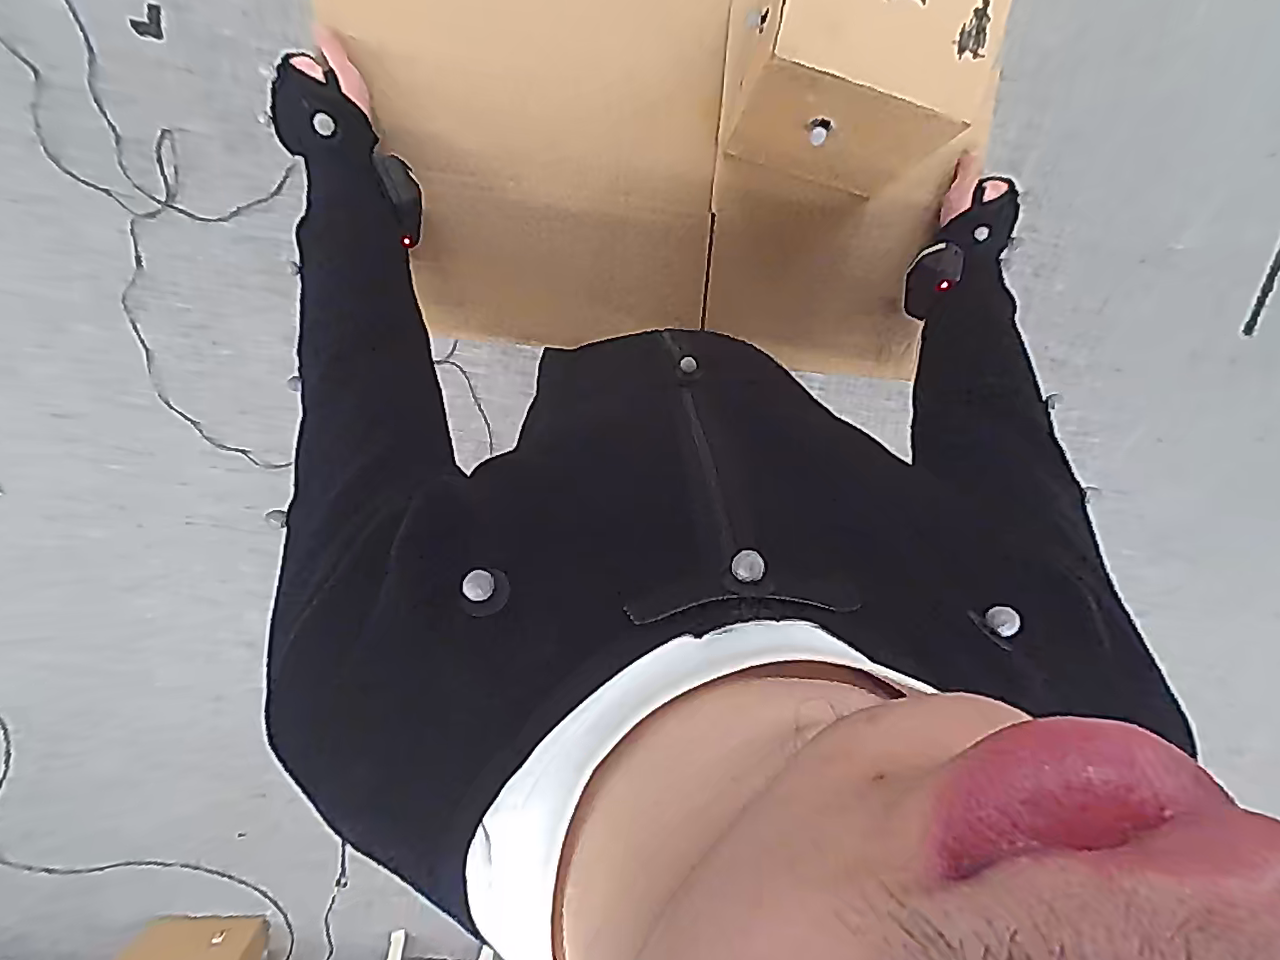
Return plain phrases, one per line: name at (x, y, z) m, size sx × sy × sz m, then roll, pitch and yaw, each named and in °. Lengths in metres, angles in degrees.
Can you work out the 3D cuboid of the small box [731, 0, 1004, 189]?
small box at (0.199, -0.401, 0.504) m, size 0.179 × 0.176 × 0.168 m, roll 14°, pitch 98°, yaw -5°
